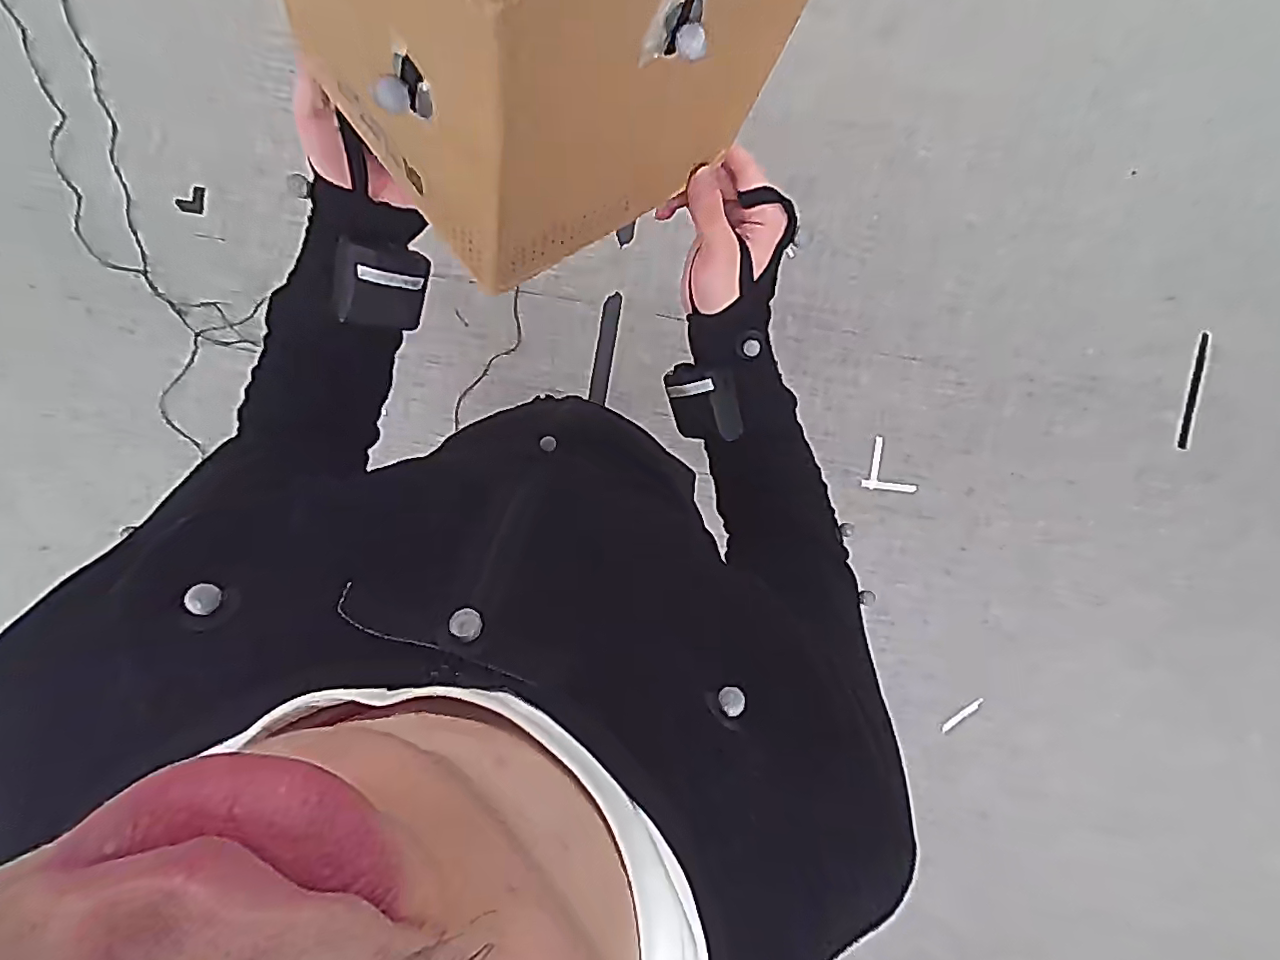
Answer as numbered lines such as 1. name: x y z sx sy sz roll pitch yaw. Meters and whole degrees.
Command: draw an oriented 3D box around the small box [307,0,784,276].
1. small box: -0.045 -0.231 0.251 0.179 0.176 0.168 -38 91 -20
